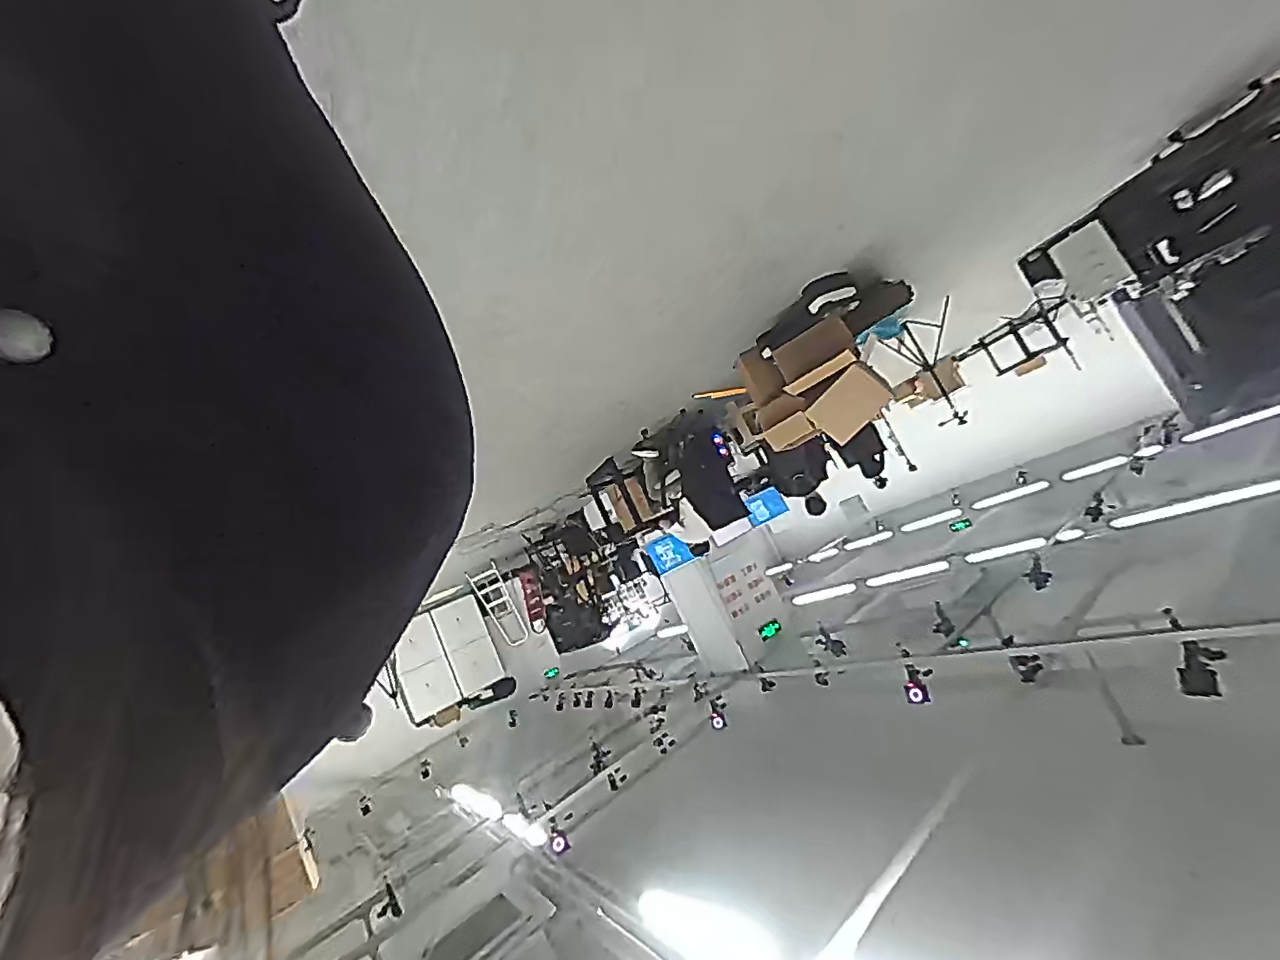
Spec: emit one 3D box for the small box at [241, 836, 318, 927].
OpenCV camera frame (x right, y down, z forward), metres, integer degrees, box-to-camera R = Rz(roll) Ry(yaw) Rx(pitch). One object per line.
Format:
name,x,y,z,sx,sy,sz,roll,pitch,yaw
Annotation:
small box,-1.251,1.386,1.880,0.168,0.176,0.179,-23,170,-28
